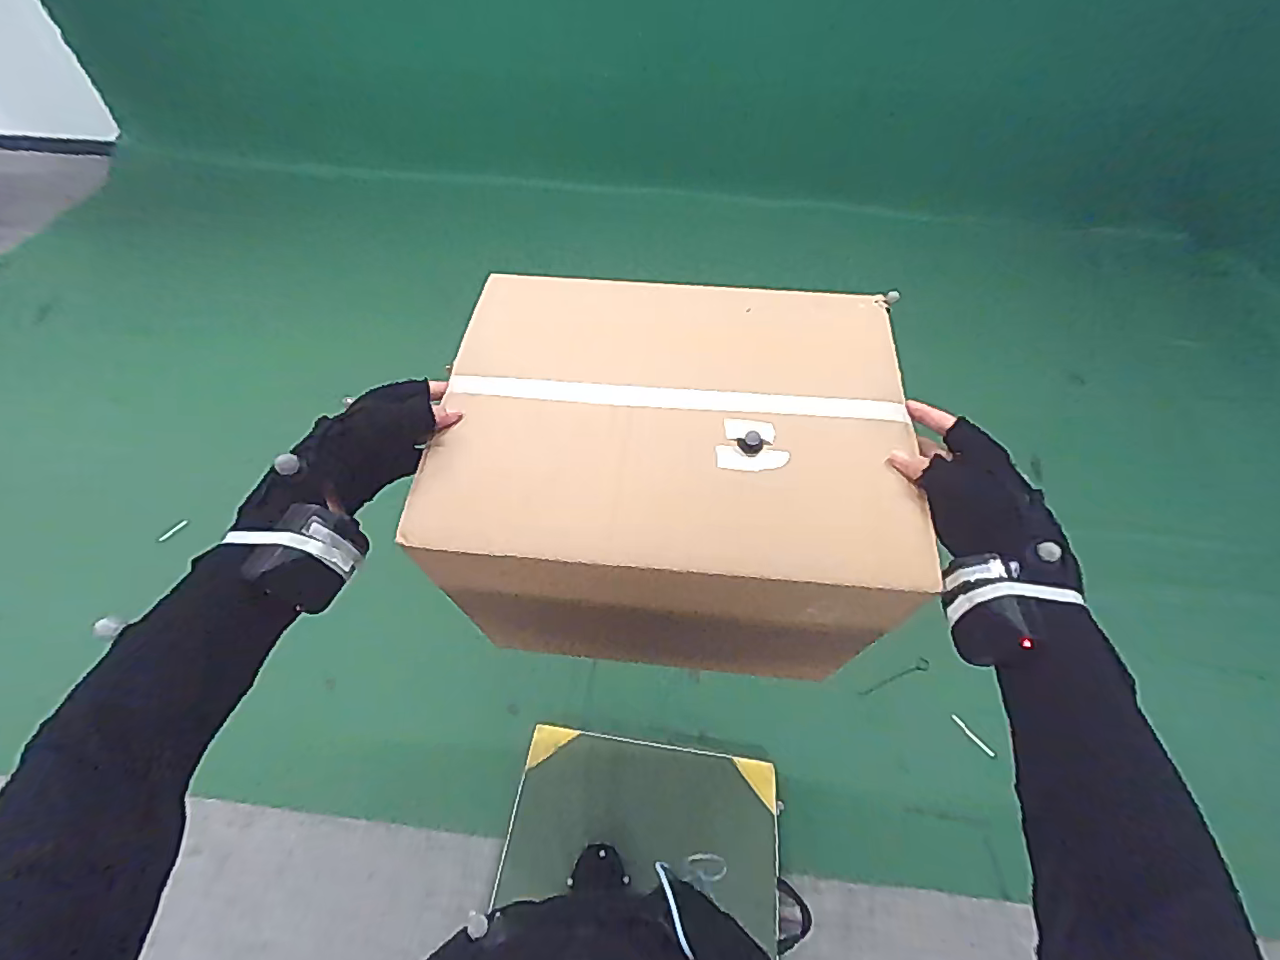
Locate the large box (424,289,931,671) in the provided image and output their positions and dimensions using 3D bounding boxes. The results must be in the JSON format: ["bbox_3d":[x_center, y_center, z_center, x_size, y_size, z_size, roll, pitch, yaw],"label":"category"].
[{"bbox_3d":[0.035,0.015,0.619,0.408,0.320,0.320,5,59,3],"label":"large box"}]
